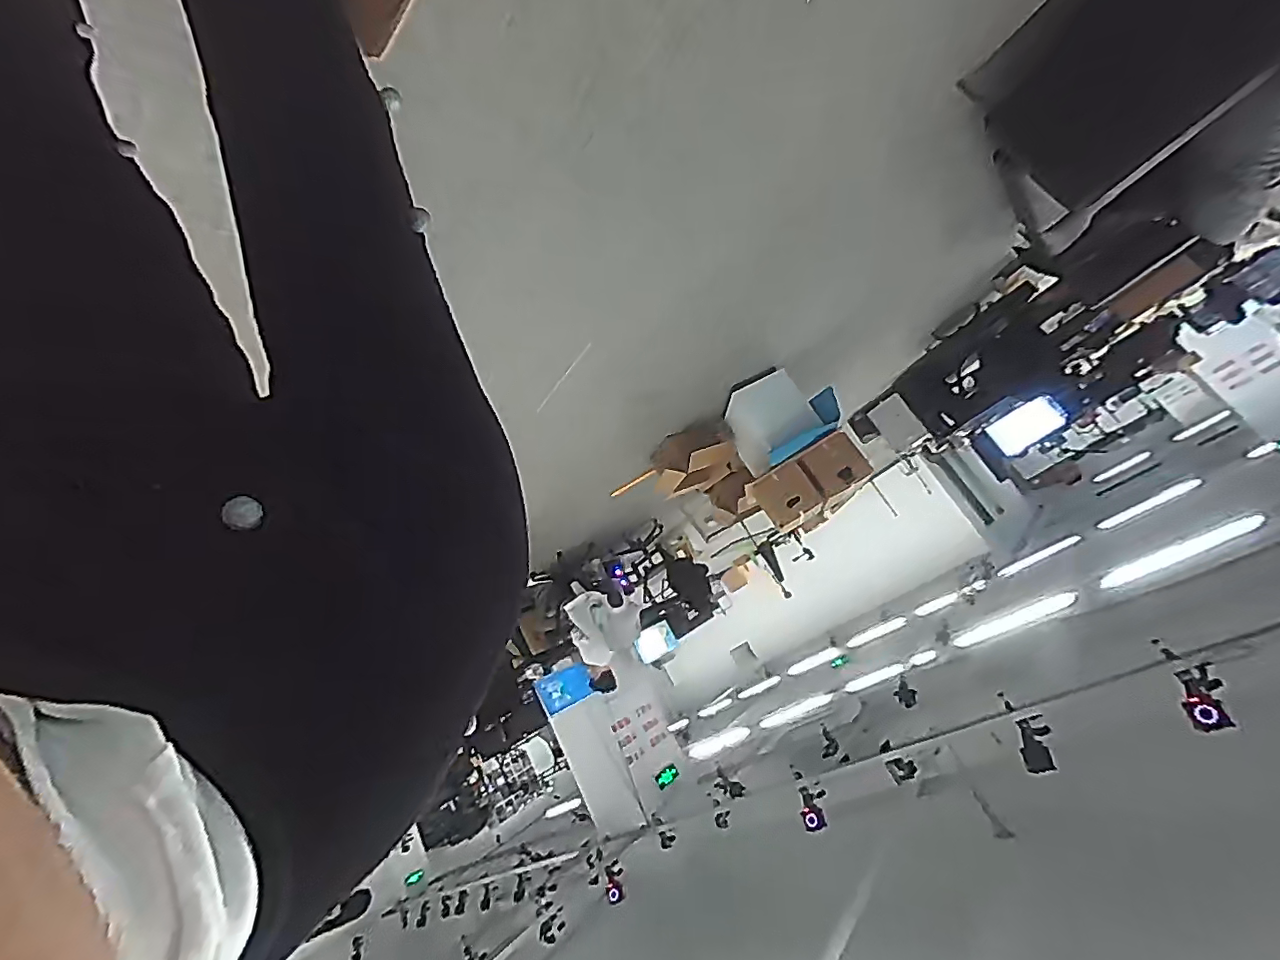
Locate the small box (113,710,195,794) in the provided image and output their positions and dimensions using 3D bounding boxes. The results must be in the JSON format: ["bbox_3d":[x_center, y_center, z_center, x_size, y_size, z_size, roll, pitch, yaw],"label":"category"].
[{"bbox_3d":[-1.522,0.843,1.690,0.168,0.176,0.179,-6,154,-49],"label":"small box"}]
